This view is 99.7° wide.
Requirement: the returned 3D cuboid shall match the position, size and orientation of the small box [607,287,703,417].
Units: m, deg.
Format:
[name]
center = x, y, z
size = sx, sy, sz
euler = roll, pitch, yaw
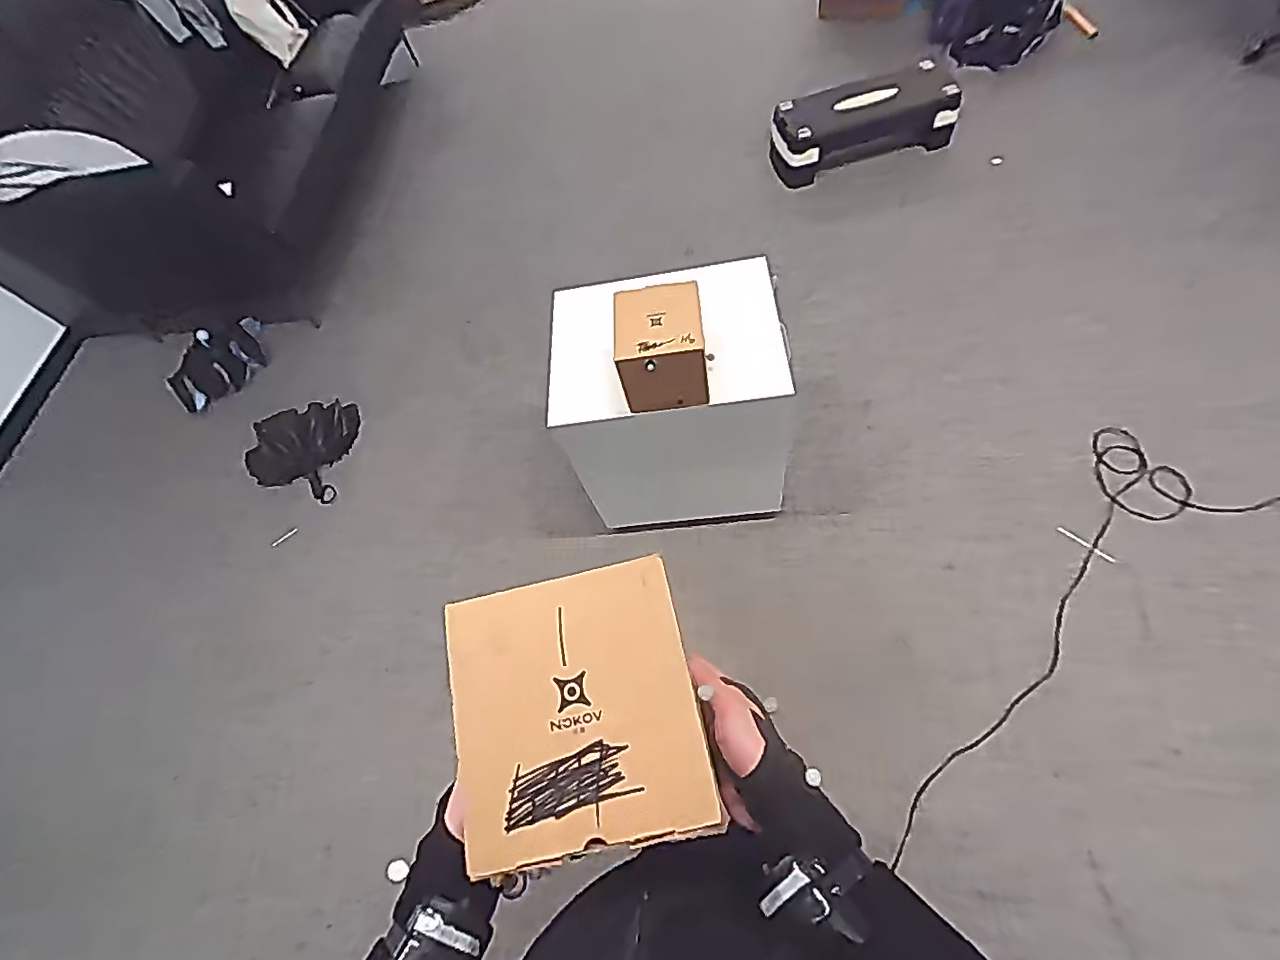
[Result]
[small box]
center = 0.031, -0.249, 1.072
size = 0.168, 0.176, 0.179
euler = -7, 59, 8
